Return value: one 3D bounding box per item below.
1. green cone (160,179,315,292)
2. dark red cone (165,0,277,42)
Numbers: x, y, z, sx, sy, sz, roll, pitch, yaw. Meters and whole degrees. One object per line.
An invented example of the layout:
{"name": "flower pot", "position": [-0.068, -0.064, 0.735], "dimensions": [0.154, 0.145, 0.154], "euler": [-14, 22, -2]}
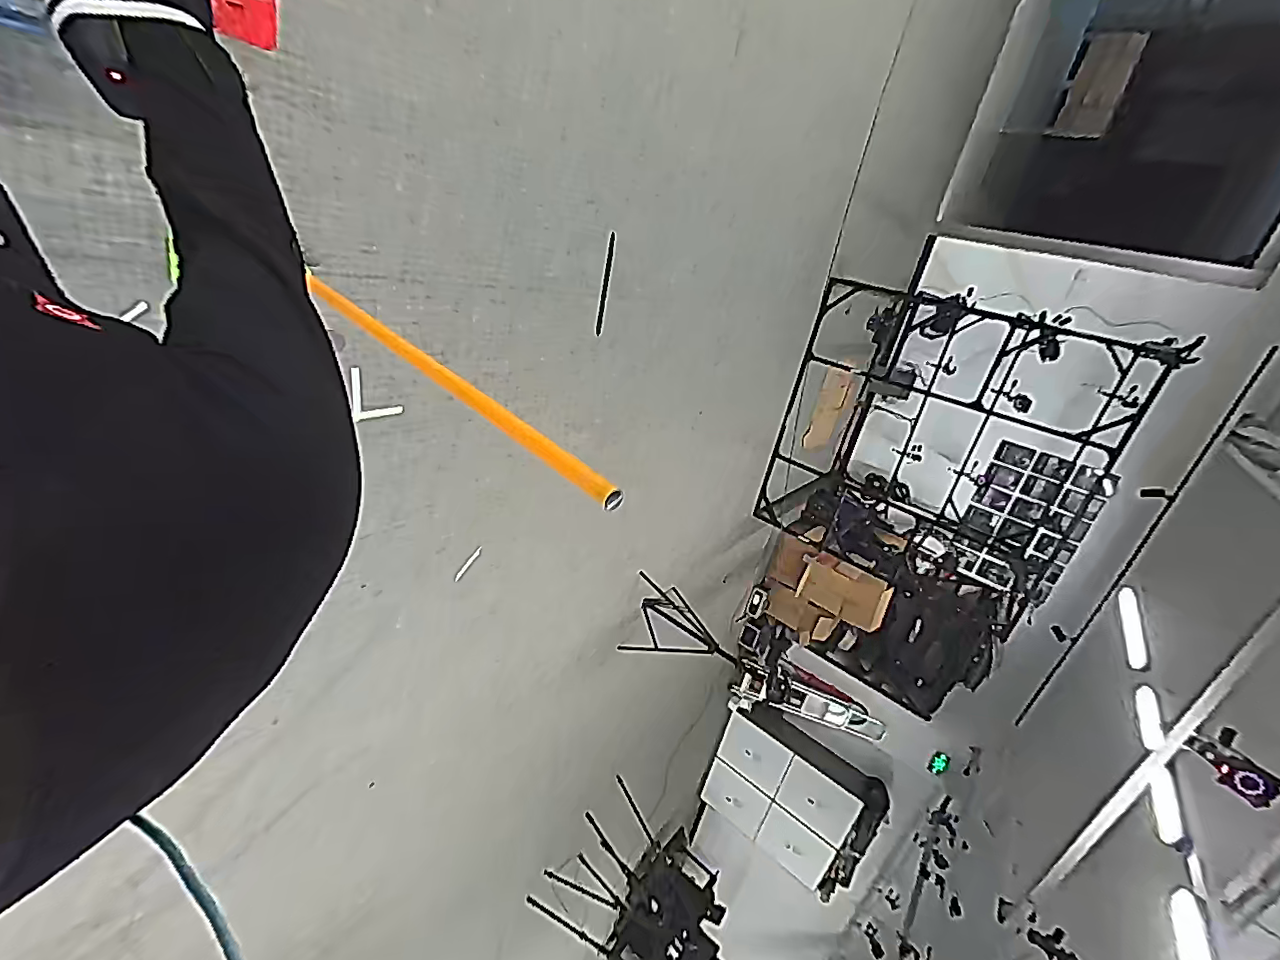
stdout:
{"name": "green cone", "position": [-0.766, -0.448, 1.081], "dimensions": [0.202, 0.368, 0.200], "euler": [-15, 126, -54]}
{"name": "dark red cone", "position": [-0.639, -0.878, 0.896], "dimensions": [0.201, 0.394, 0.202], "euler": [-21, 131, -52]}
